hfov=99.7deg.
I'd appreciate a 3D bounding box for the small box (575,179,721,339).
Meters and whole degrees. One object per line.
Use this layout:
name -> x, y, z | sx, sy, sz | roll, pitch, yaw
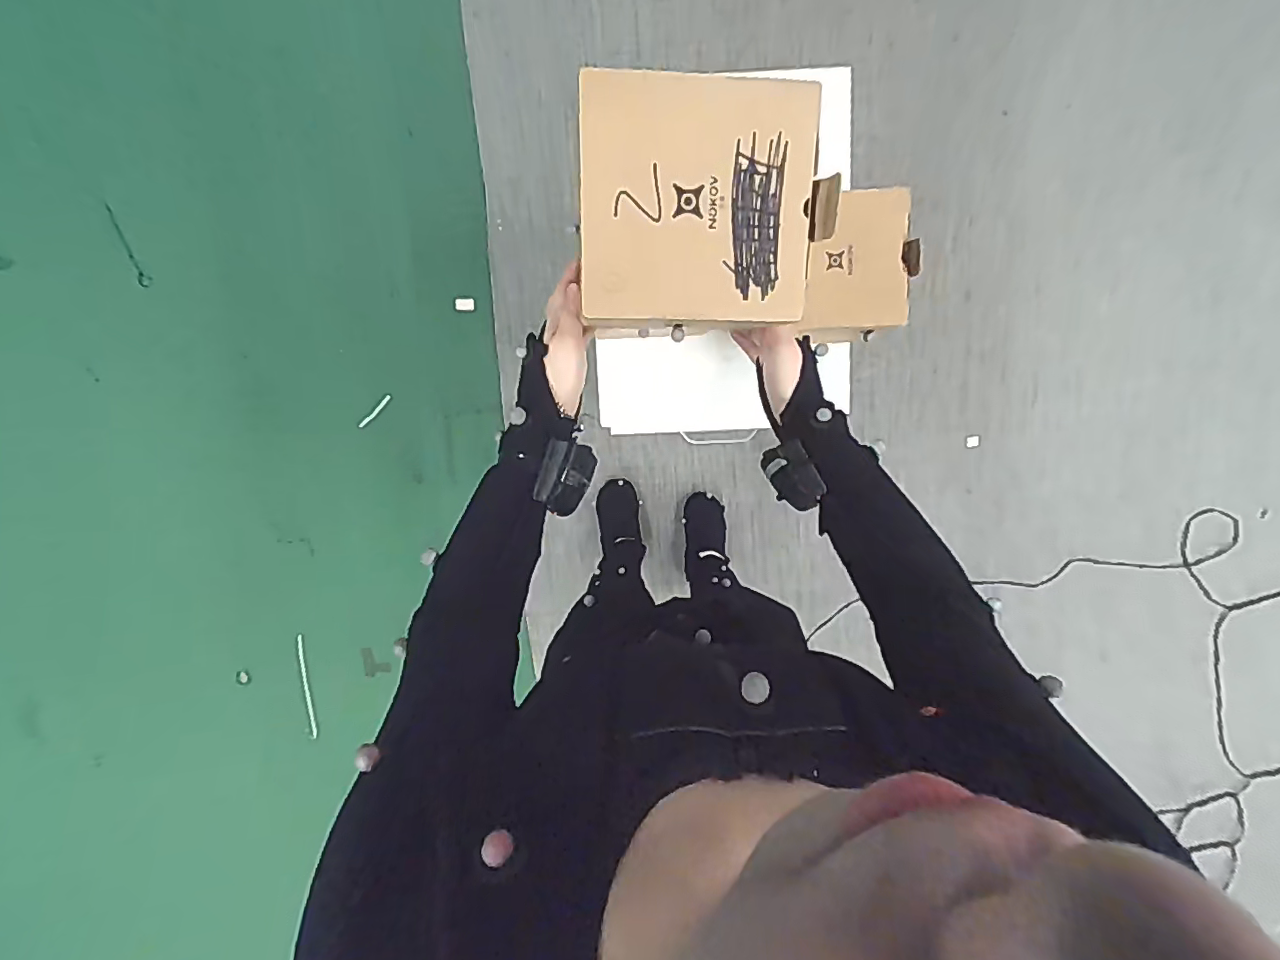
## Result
small box -> 0.012, -0.291, 0.745 | 0.179, 0.176, 0.168 | -3, 98, 0
